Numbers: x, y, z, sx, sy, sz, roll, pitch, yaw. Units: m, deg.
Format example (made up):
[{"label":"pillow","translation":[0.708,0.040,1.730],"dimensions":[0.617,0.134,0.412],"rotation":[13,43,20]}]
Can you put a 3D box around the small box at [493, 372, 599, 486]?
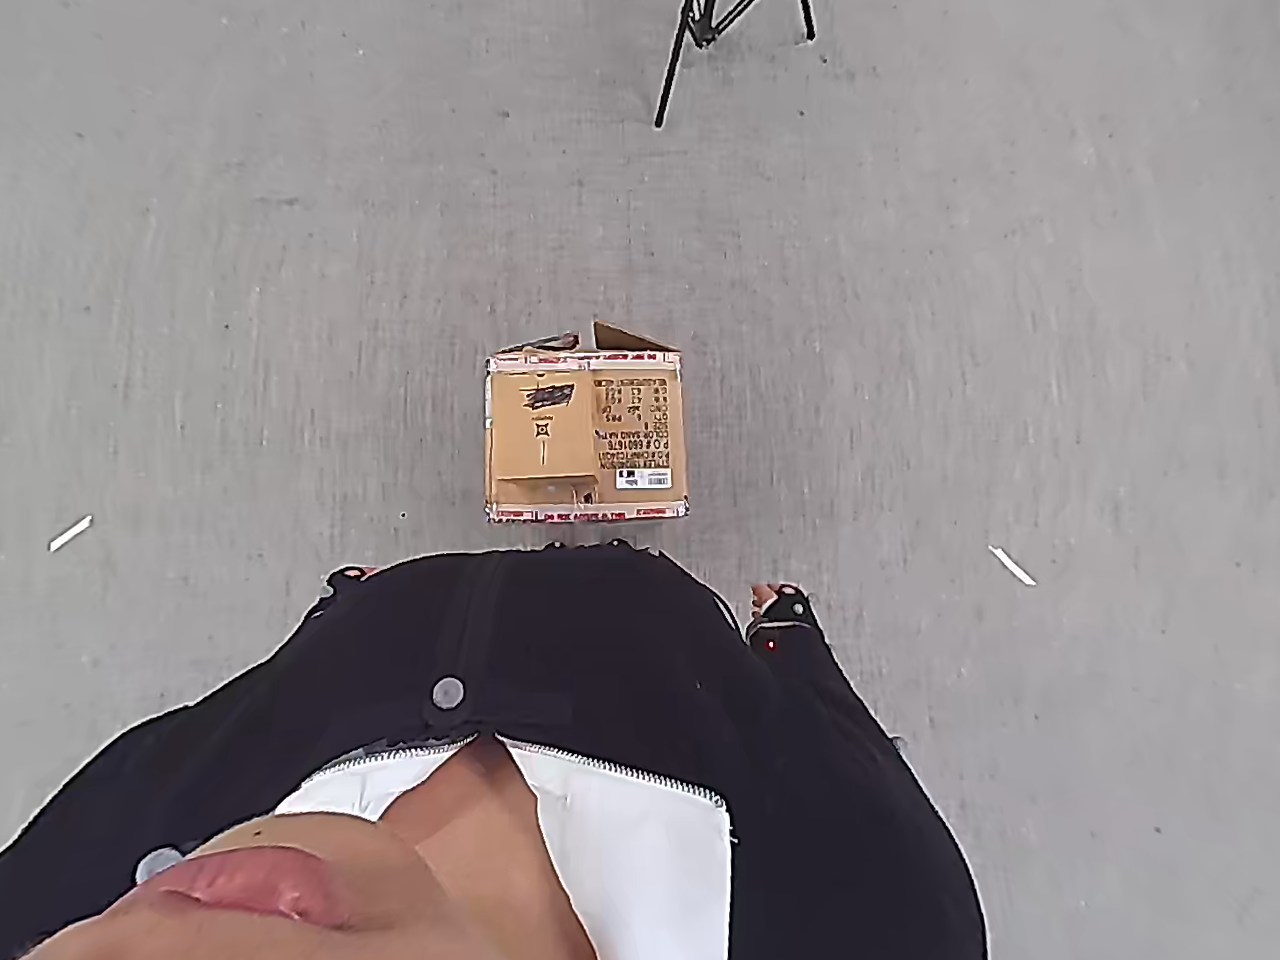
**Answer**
[{"label":"small box","translation":[-0.160,-0.083,0.958],"dimensions":[0.168,0.176,0.179],"rotation":[-2,87,-2]}]
